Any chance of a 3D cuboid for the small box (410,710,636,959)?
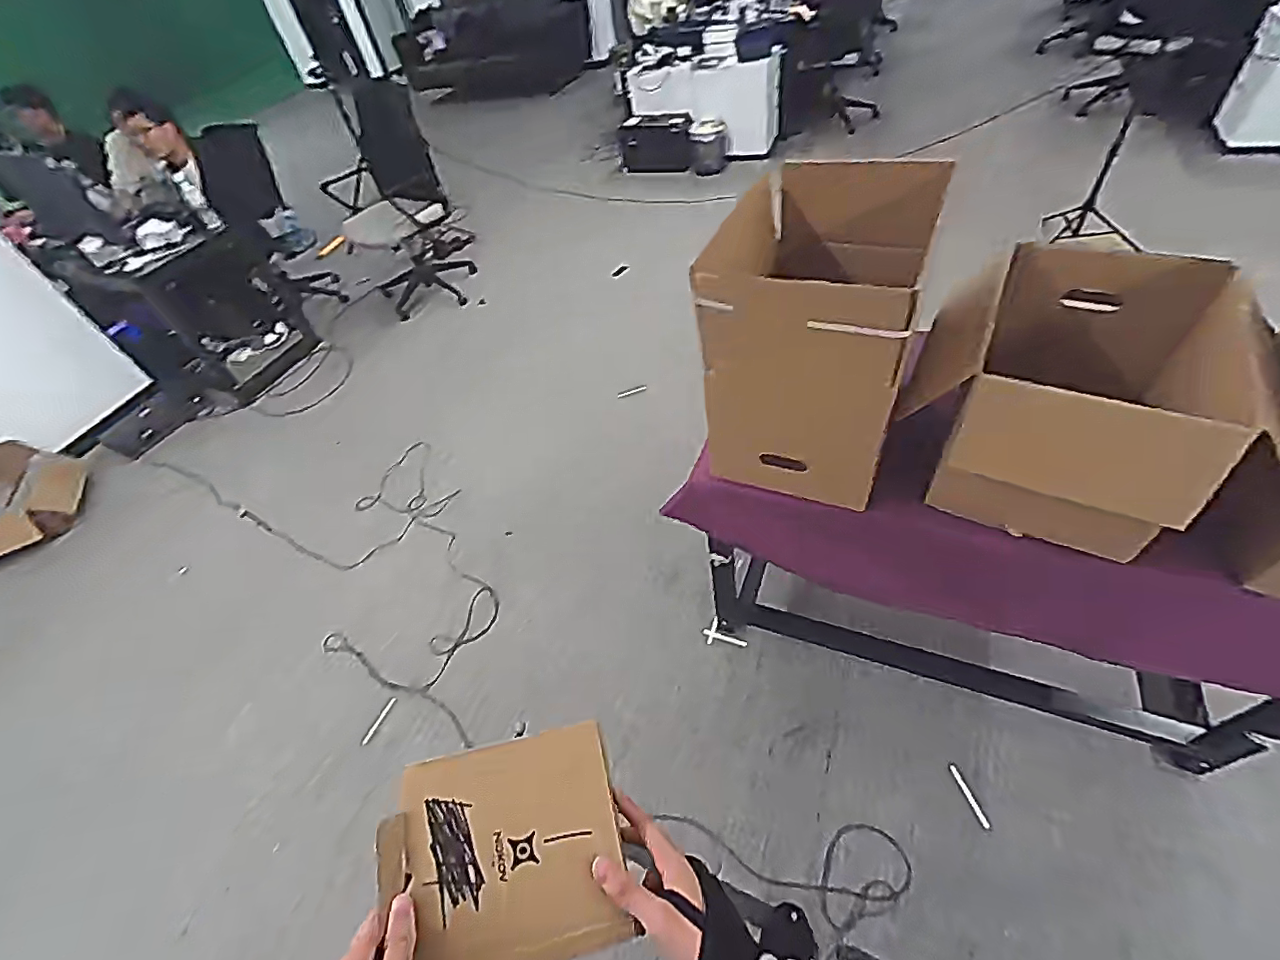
[{"bbox_3d":[-0.106,0.331,0.527,0.179,0.176,0.168,-10,67,-9],"label":"small box"}]
